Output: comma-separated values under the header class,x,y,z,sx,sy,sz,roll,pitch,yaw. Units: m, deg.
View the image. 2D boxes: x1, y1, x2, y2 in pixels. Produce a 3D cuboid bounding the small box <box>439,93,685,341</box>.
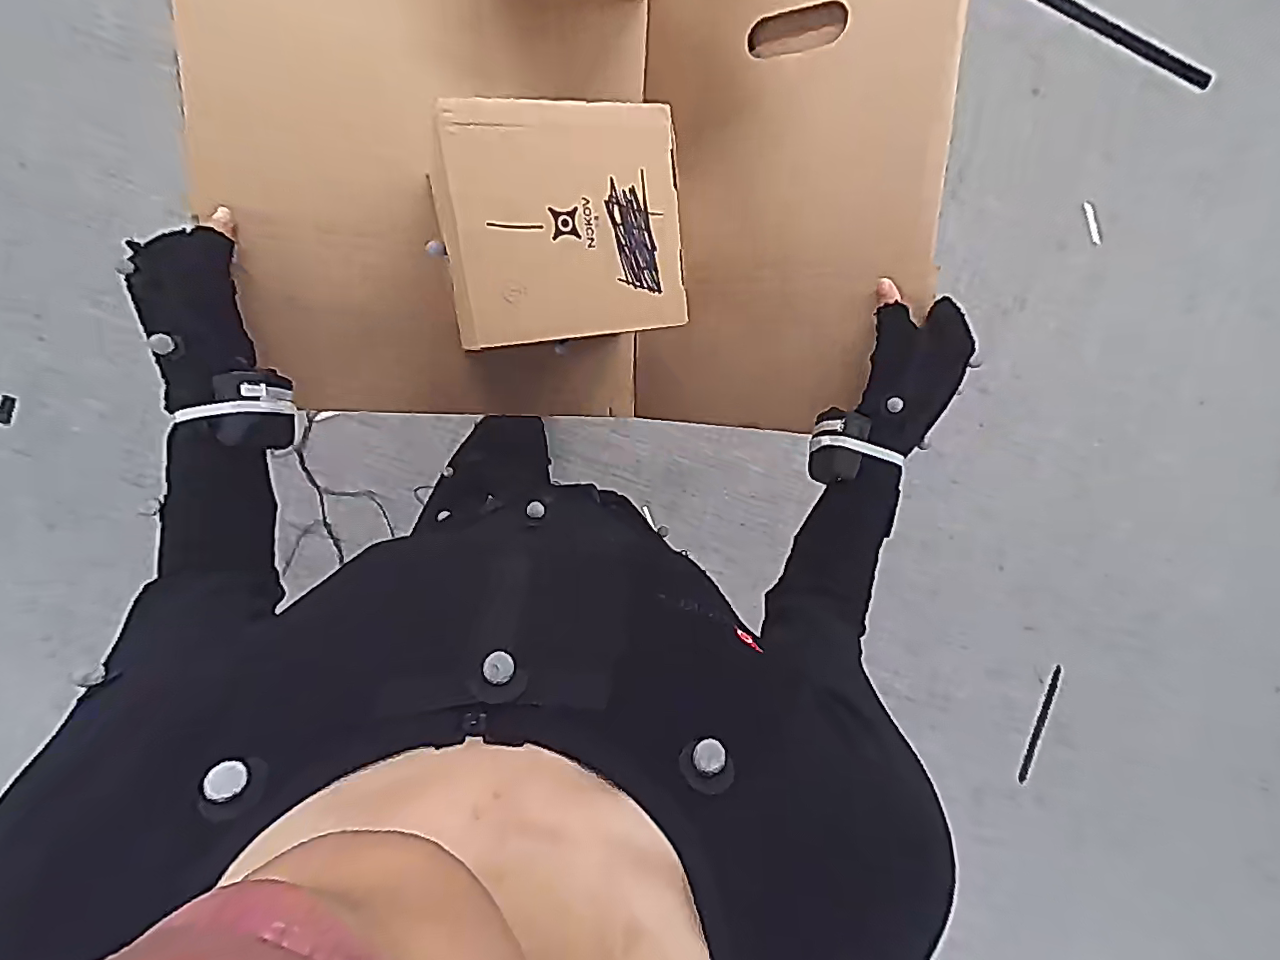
class,x,y,z,sx,sy,sz,roll,pitch,yaw
small box,-0.077,-0.218,0.491,0.179,0.176,0.168,-11,106,-18
